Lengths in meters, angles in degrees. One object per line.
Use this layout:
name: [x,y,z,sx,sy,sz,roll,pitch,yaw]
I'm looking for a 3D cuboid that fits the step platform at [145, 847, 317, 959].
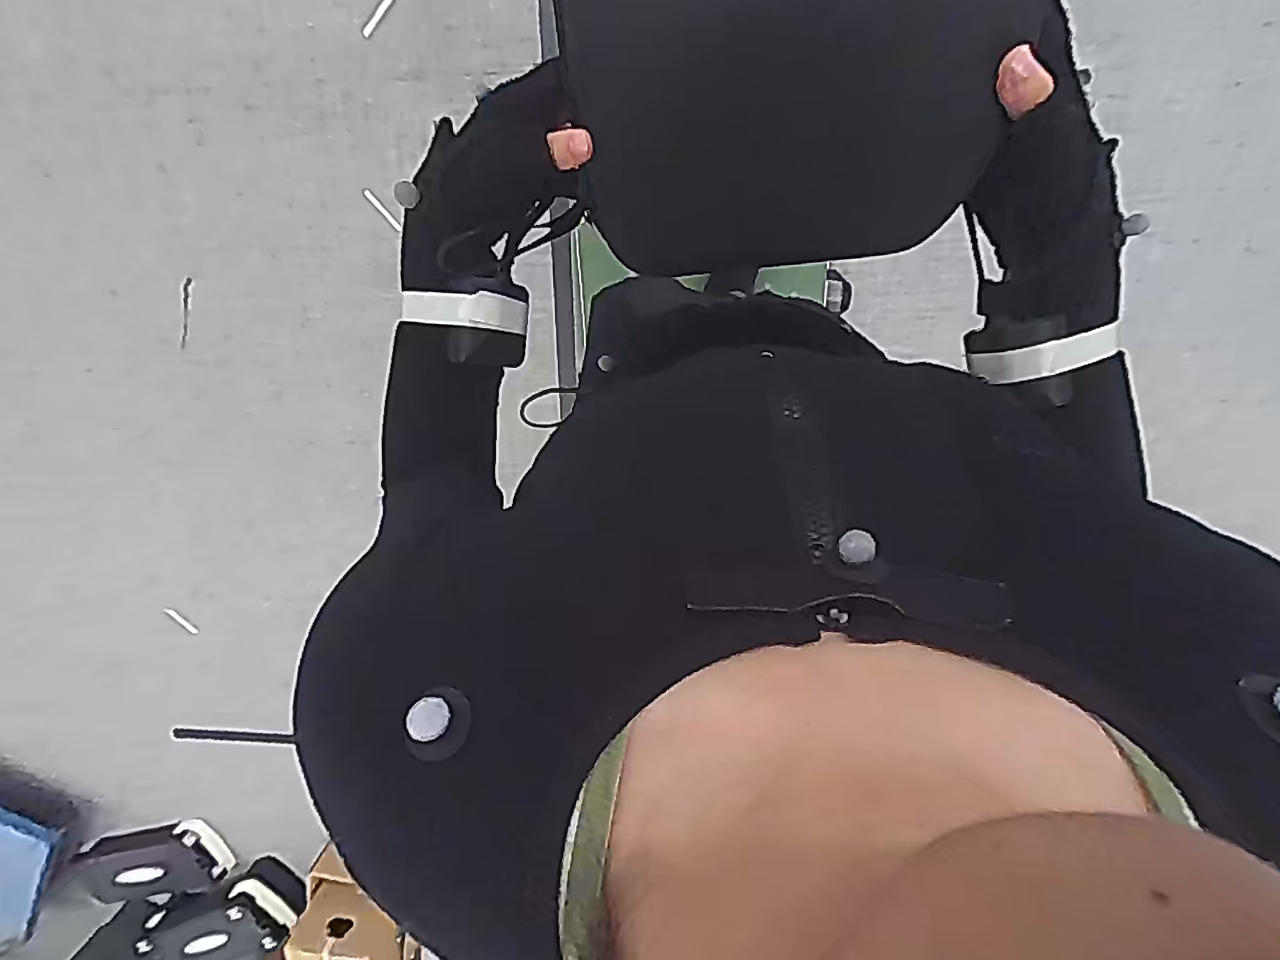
step platform: [-1.768,1.844,2.334,0.684,0.204,0.286,-27,107,13]
